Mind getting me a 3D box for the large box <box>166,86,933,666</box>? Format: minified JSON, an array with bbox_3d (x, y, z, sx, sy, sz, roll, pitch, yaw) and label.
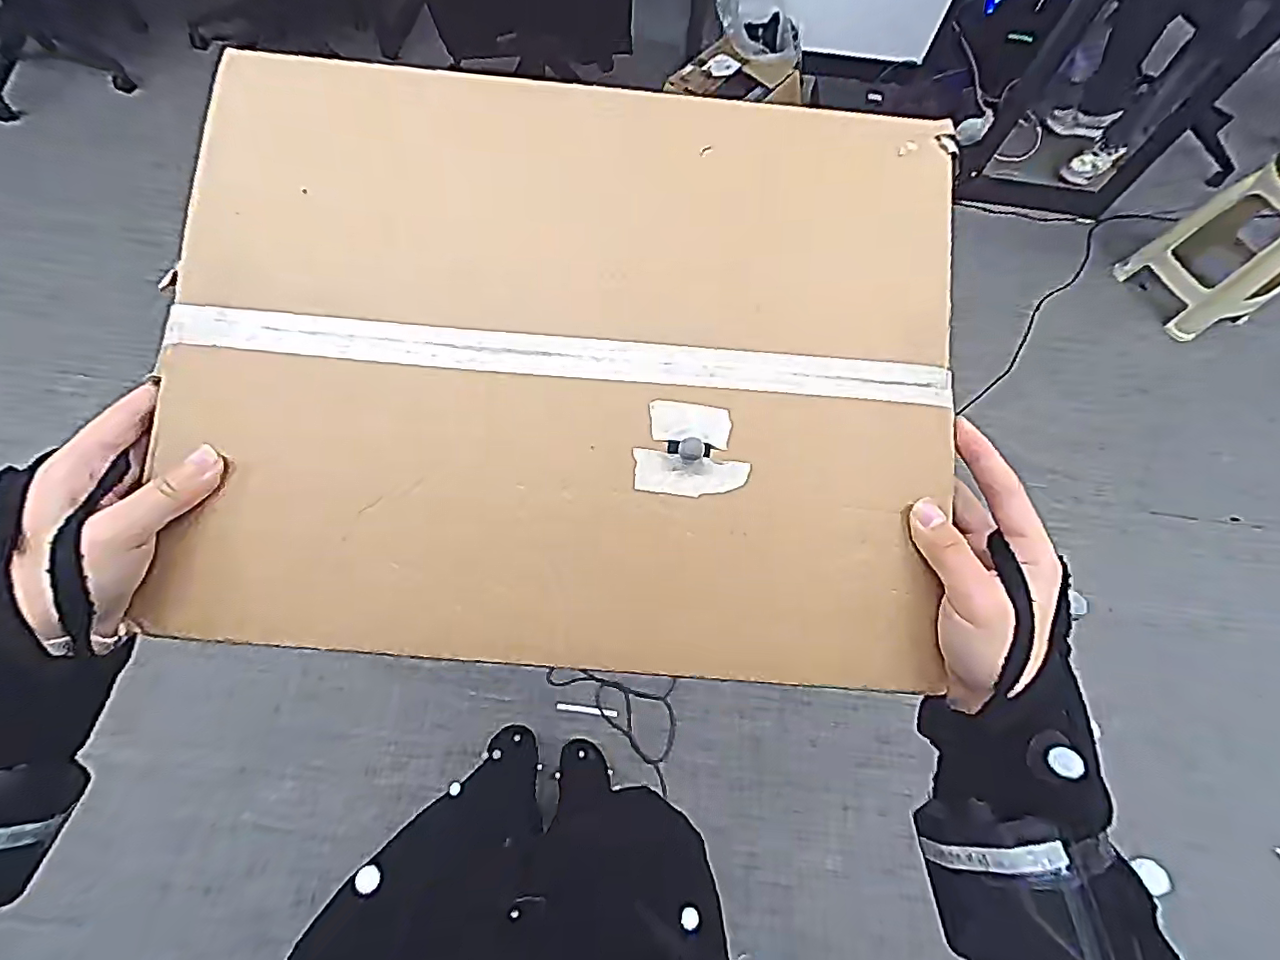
[{"bbox_3d":[-0.042,-0.047,0.447,0.408,0.320,0.320,5,84,-2],"label":"large box"}]
